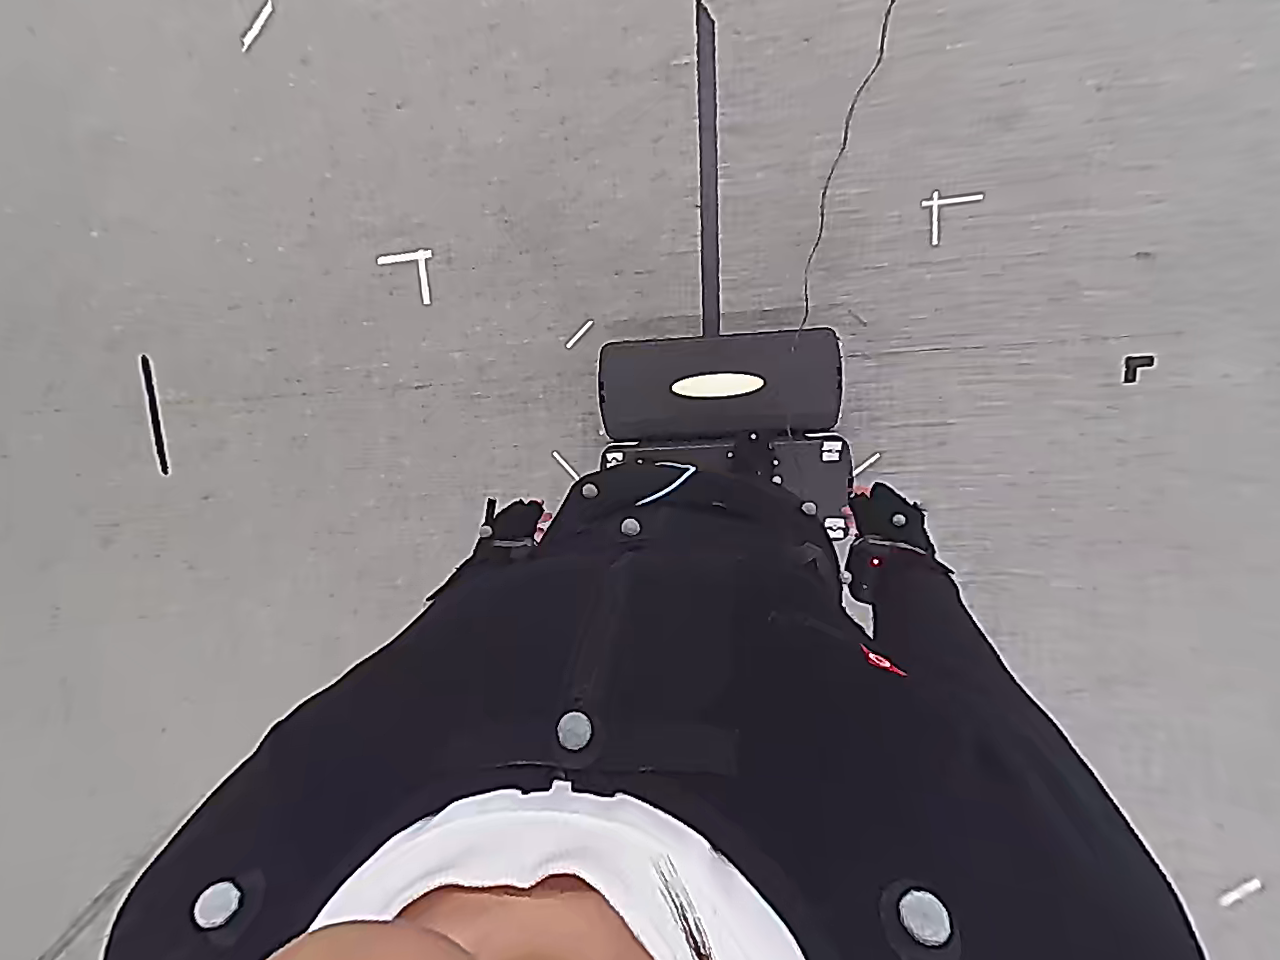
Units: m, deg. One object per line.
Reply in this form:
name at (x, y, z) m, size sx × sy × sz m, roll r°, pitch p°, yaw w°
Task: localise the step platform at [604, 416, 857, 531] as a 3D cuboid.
step platform at (0.240, -0.017, 1.510) m, size 0.684 × 0.204 × 0.286 m, roll -3°, pitch 97°, yaw 8°
